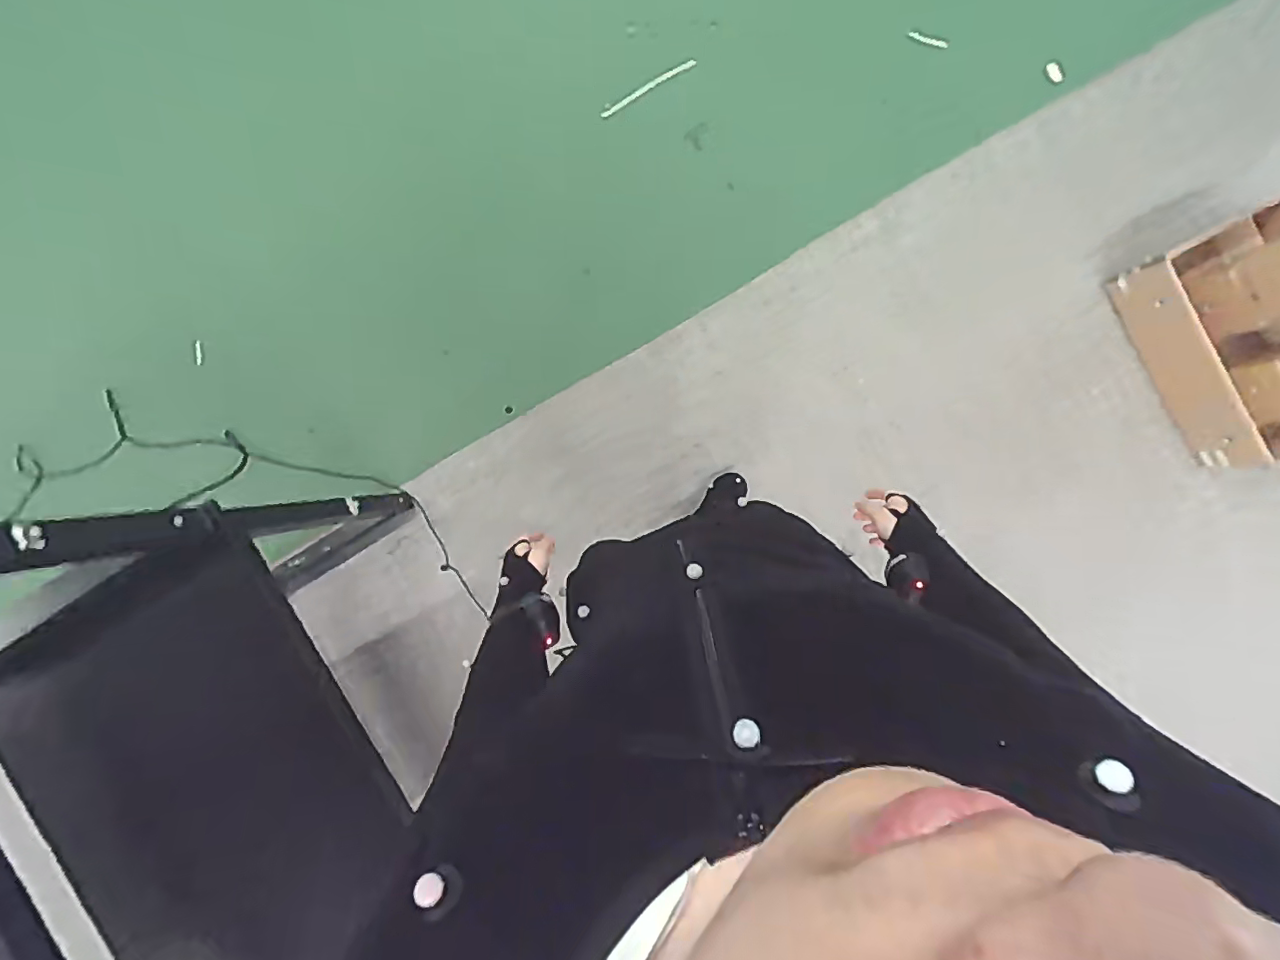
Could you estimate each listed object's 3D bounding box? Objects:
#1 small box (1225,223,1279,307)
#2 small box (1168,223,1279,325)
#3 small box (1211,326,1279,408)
[{"bbox_3d":[1.559,-0.533,1.264,0.179,0.176,0.168,-25,90,2],"label":"small box"},{"bbox_3d":[1.566,-0.534,1.429,0.179,0.176,0.168,-30,92,3],"label":"small box"},{"bbox_3d":[1.692,-0.305,1.433,0.179,0.176,0.168,-30,90,3],"label":"small box"}]
